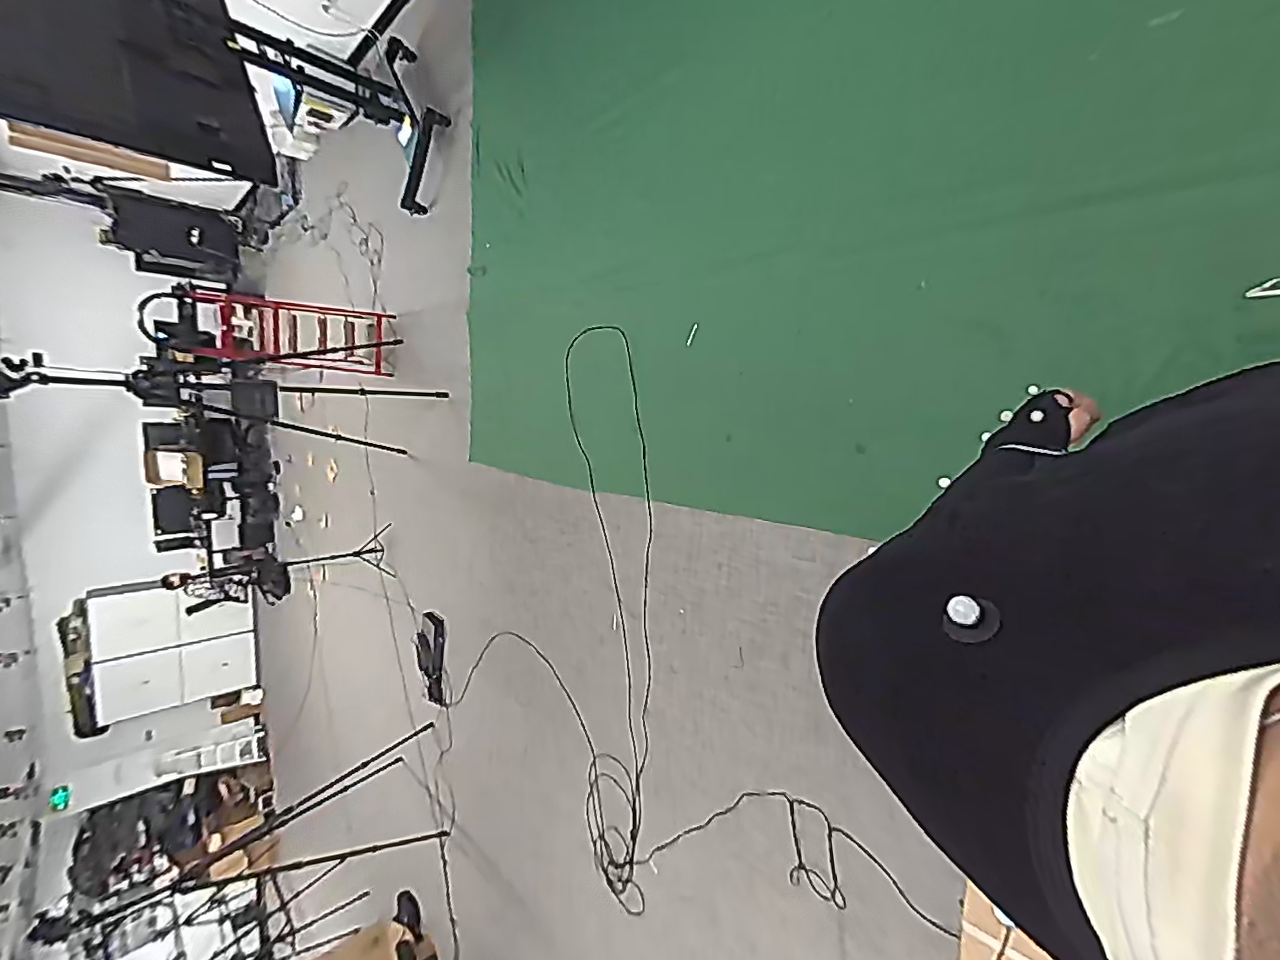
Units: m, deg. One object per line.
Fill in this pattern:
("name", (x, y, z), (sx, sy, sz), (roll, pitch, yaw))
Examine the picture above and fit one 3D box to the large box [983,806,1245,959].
("large box", (1.041, 1.032, 1.217), (0.408, 0.320, 0.320), (6, 98, 44))
